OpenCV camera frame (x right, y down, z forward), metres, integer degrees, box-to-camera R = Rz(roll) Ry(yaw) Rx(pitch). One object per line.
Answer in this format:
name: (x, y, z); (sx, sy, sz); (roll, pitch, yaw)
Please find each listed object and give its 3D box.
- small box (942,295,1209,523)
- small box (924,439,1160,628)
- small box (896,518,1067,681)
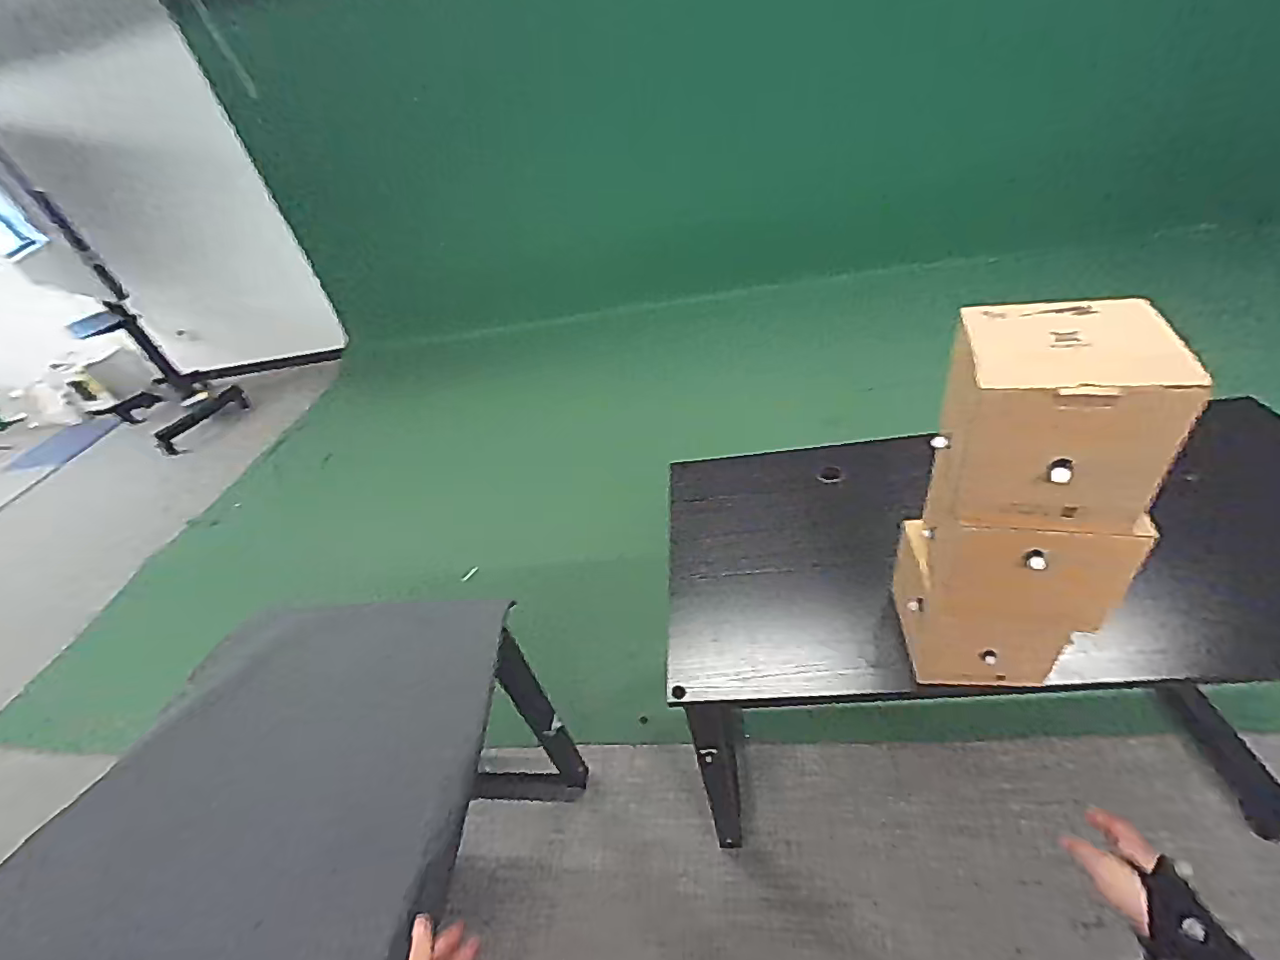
small box: (0.427, -0.073, 0.570); (0.168, 0.176, 0.179); (3, 43, 21)
small box: (0.463, 0.060, 0.660); (0.179, 0.176, 0.168); (1, 41, 19)
small box: (0.482, 0.171, 0.779); (0.168, 0.176, 0.179); (-3, 40, 12)
